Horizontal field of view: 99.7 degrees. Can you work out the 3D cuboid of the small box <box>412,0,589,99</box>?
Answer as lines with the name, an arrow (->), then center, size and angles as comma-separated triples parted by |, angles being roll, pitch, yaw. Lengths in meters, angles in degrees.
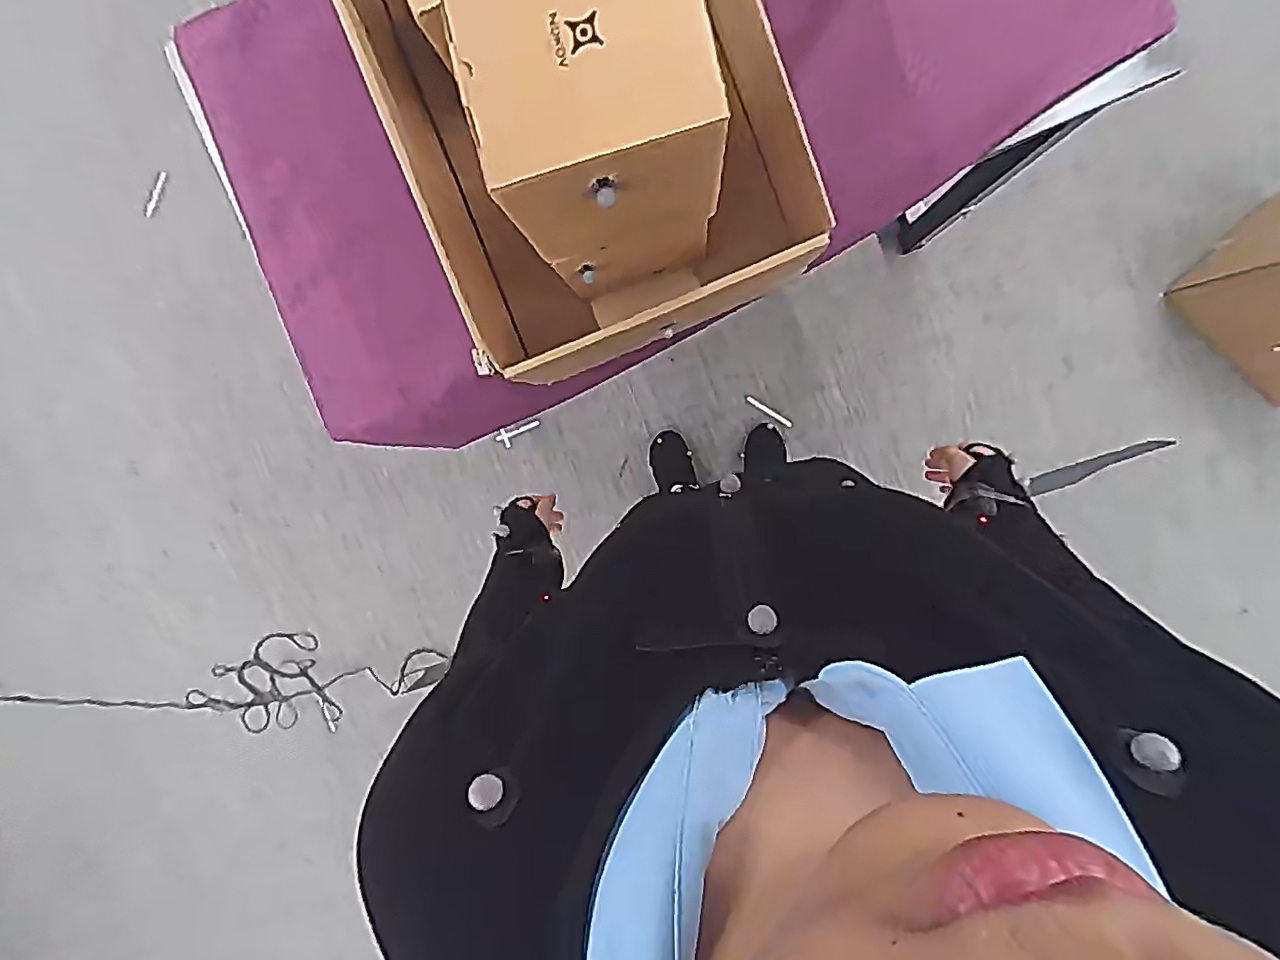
small box -> -0.166, -0.570, 0.584 | 0.179, 0.176, 0.168 | -24, 95, 6

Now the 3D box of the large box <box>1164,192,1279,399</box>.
large box -> 1.503, -0.409, 1.150 | 0.408, 0.320, 0.320 | 43, 98, 1
